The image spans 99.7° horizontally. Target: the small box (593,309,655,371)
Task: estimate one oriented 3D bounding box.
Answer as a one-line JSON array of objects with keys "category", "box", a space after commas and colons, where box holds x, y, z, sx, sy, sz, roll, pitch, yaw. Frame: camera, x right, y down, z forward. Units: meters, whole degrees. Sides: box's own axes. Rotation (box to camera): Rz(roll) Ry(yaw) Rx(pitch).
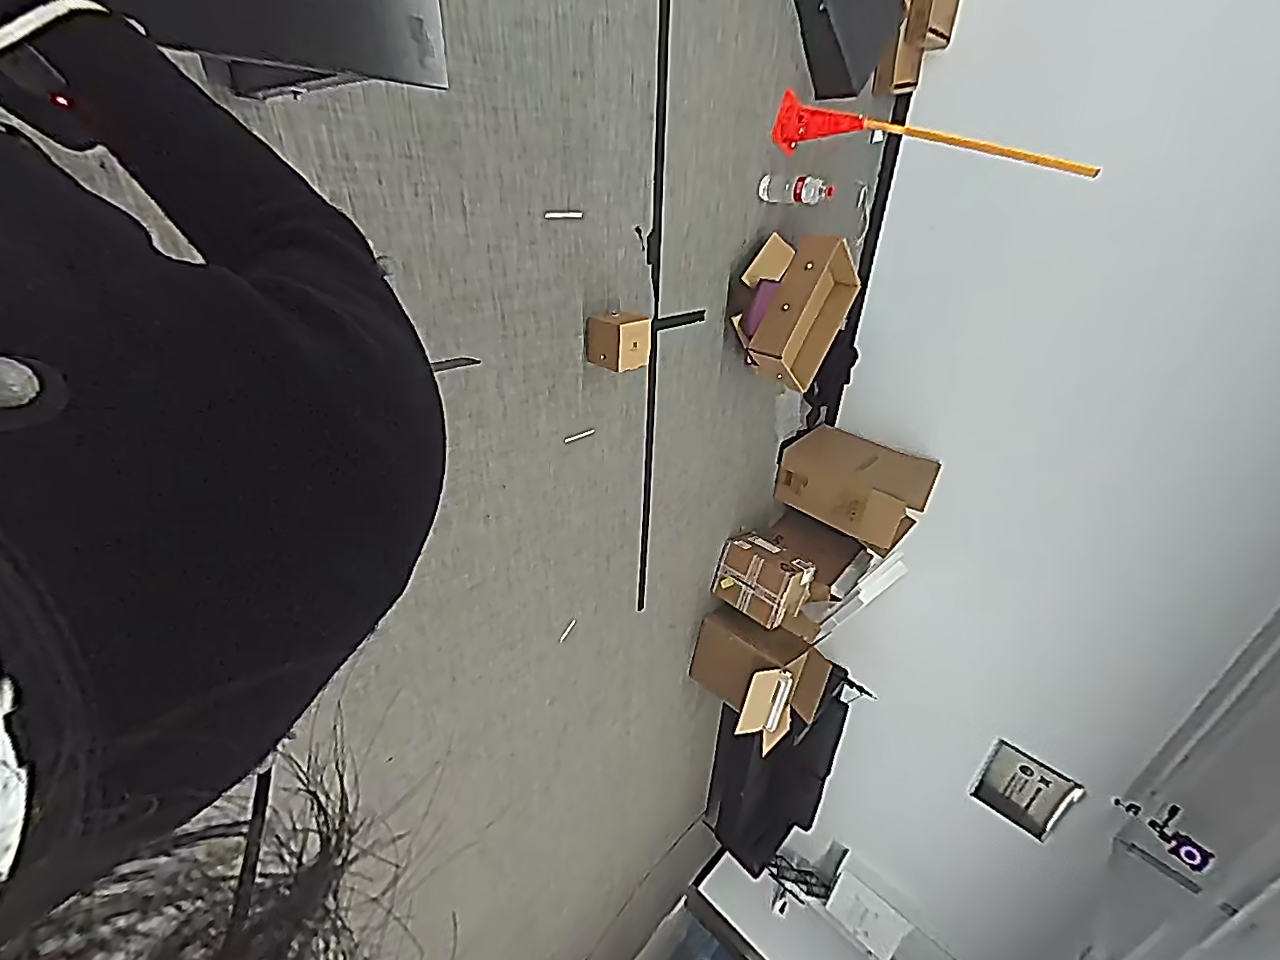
[{"category": "small box", "box": [-0.062, -0.521, 1.999, 0.168, 0.176, 0.179, -27, 130, -39]}]
